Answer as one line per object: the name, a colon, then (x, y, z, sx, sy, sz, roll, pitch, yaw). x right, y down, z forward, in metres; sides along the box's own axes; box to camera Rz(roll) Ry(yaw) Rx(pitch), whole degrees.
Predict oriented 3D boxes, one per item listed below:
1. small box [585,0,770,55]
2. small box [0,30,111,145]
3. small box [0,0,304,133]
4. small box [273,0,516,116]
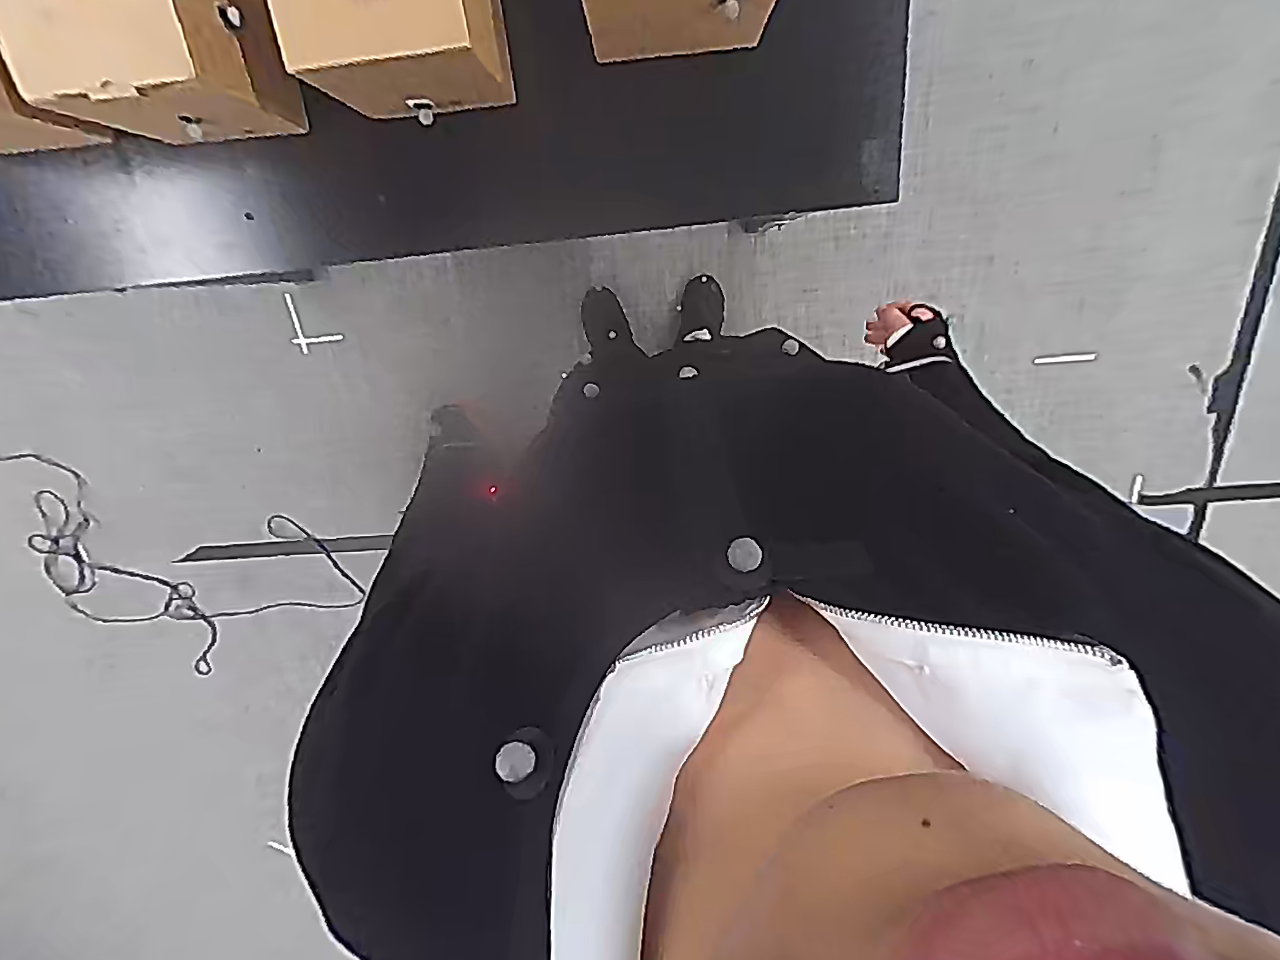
small box: (0.033, -0.516, 0.486, 0.179, 0.176, 0.168, -3, 111, 3)
small box: (-0.697, -0.439, 0.524, 0.179, 0.176, 0.168, -5, 111, 2)
small box: (-0.465, -0.451, 0.518, 0.168, 0.176, 0.179, -5, 111, 1)
small box: (-0.228, -0.474, 0.509, 0.168, 0.176, 0.179, -5, 112, 4)
